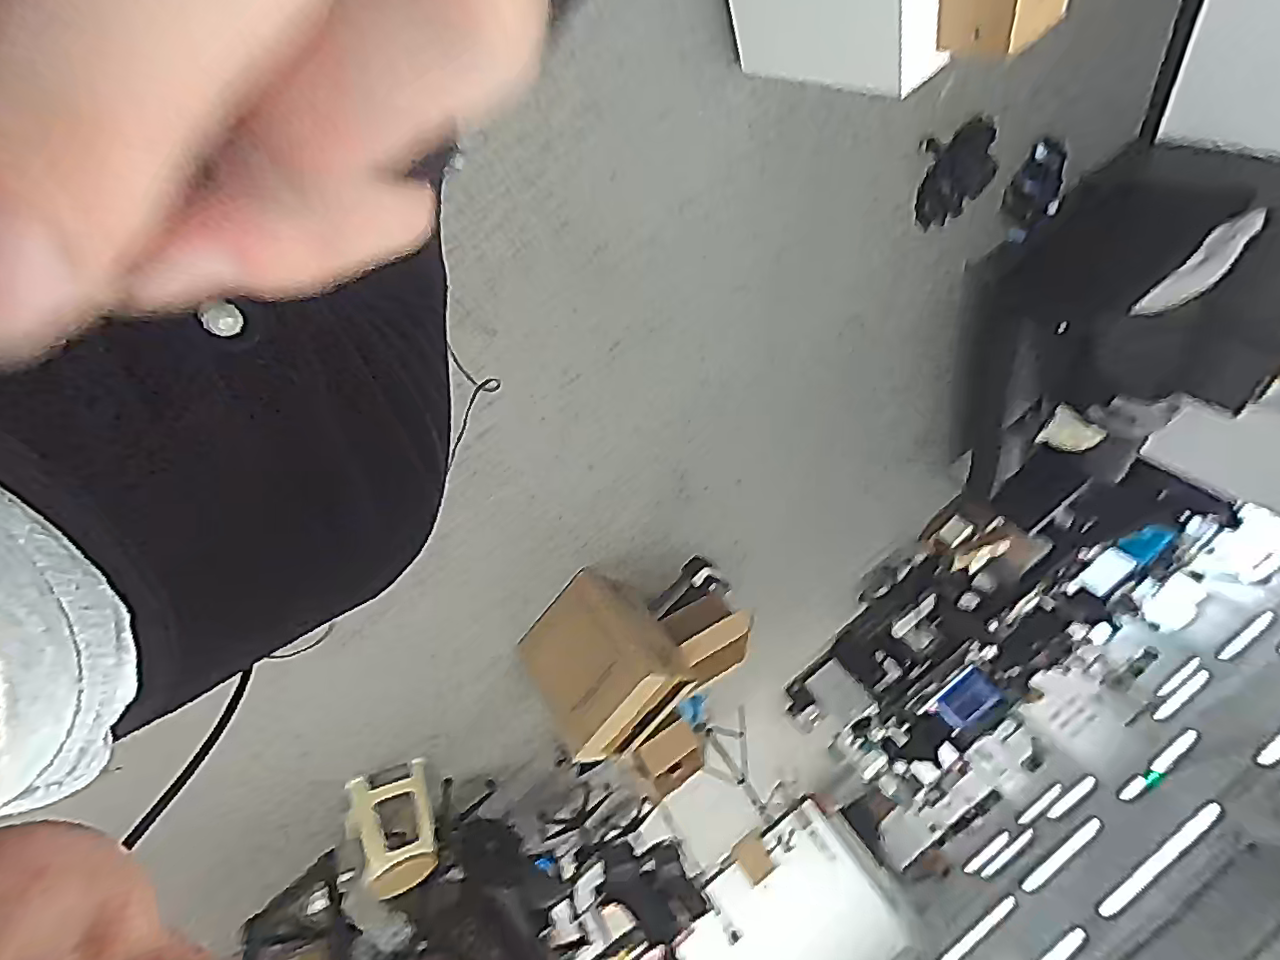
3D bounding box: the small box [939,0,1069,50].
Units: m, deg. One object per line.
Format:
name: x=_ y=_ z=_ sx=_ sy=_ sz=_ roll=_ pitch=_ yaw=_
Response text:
small box: x=0.711 y=-0.982 z=1.051 sx=0.168 sy=0.176 sz=0.179 roll=-40 pitch=139 yaw=-5
